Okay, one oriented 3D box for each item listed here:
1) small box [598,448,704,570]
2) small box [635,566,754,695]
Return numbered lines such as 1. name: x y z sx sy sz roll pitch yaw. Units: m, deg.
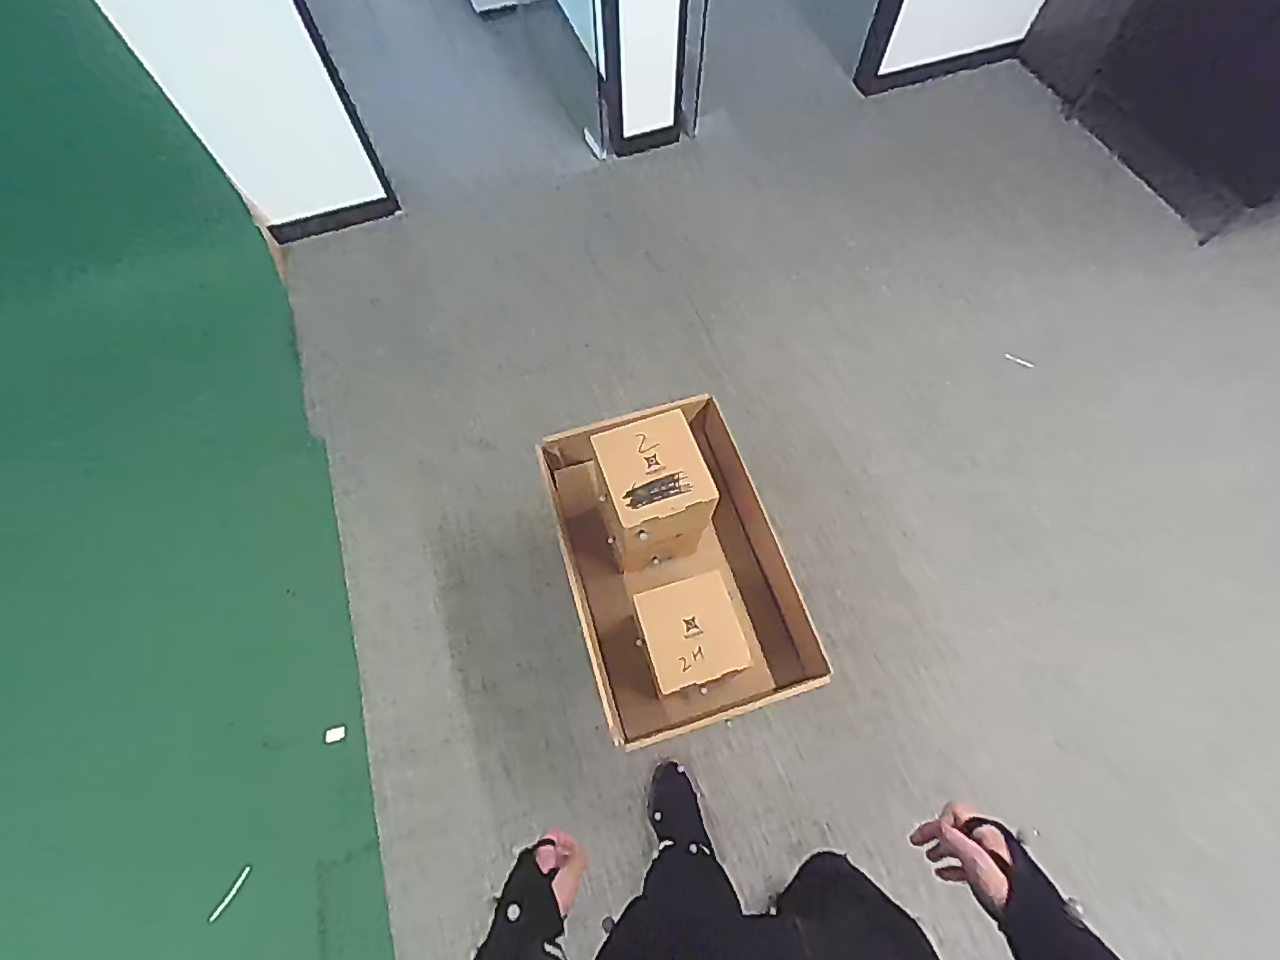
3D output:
1. small box: 0.017 0.065 1.109 0.168 0.176 0.179 -17 69 -7
2. small box: 0.091 0.284 1.003 0.168 0.176 0.179 -16 66 -6
